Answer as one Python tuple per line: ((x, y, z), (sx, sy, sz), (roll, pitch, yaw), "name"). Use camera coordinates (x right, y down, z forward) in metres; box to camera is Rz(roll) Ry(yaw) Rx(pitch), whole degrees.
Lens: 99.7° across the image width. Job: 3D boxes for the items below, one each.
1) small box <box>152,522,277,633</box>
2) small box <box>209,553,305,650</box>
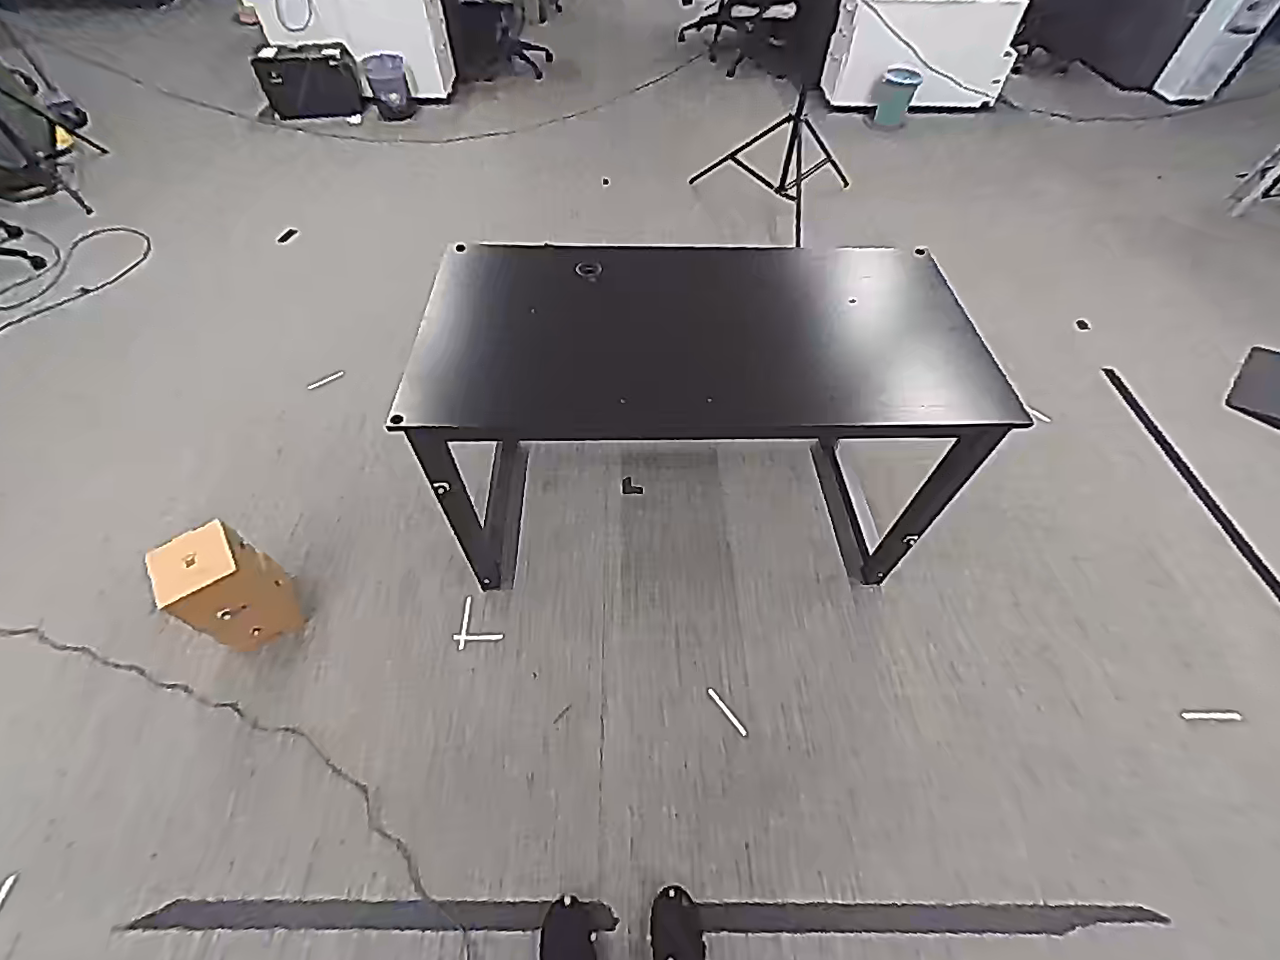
((-1.041, 0.243, 1.333), (0.168, 0.176, 0.179), (-32, 61, -21), "small box")
((-1.042, 0.337, 1.466), (0.168, 0.176, 0.179), (-26, 58, -21), "small box")
